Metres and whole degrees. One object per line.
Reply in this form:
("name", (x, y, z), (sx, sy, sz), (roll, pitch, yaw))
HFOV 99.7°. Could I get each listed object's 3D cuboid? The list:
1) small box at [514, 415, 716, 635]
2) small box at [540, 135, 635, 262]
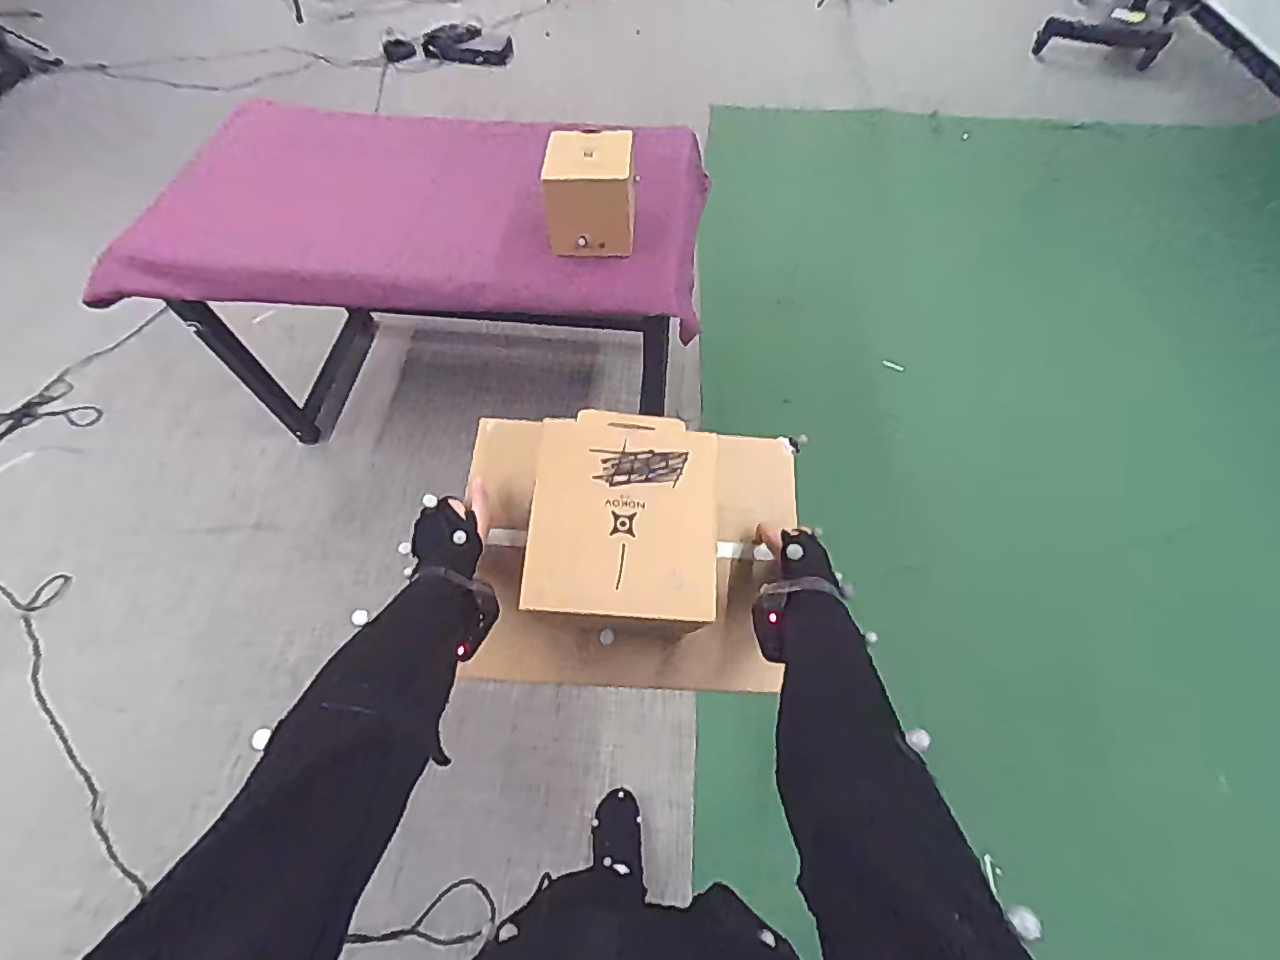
("small box", (-0.022, 0.055, 0.546), (0.168, 0.176, 0.179), (5, 71, -2))
("small box", (-0.098, -0.572, 1.103), (0.168, 0.176, 0.179), (1, 58, 3))
